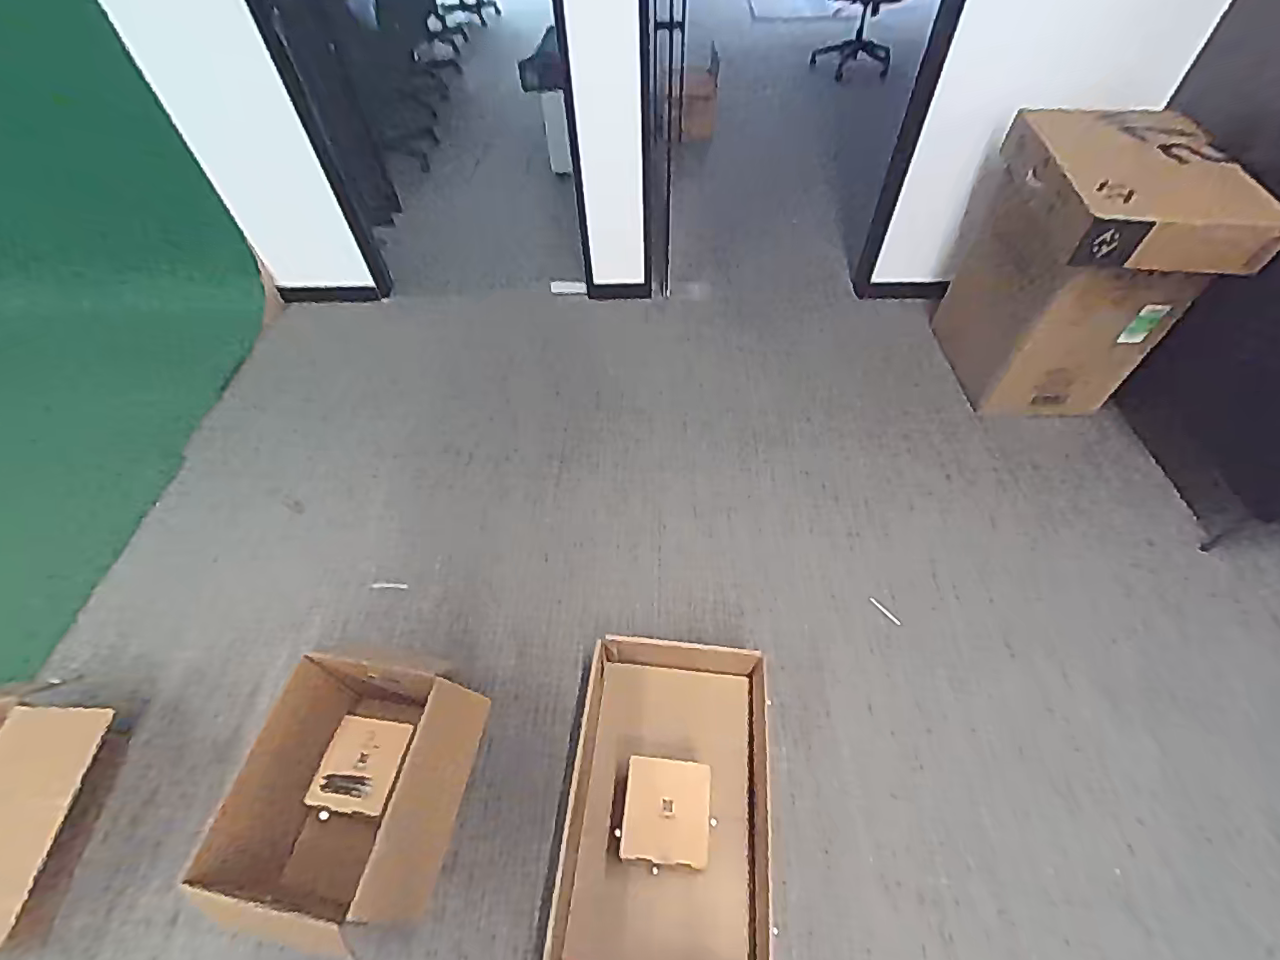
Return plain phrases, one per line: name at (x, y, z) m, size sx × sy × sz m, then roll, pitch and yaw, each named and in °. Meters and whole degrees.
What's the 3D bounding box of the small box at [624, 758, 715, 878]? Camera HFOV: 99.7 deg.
small box at (0.060, 0.690, 1.103) m, size 0.168 × 0.176 × 0.179 m, roll 4°, pitch 52°, yaw 5°
